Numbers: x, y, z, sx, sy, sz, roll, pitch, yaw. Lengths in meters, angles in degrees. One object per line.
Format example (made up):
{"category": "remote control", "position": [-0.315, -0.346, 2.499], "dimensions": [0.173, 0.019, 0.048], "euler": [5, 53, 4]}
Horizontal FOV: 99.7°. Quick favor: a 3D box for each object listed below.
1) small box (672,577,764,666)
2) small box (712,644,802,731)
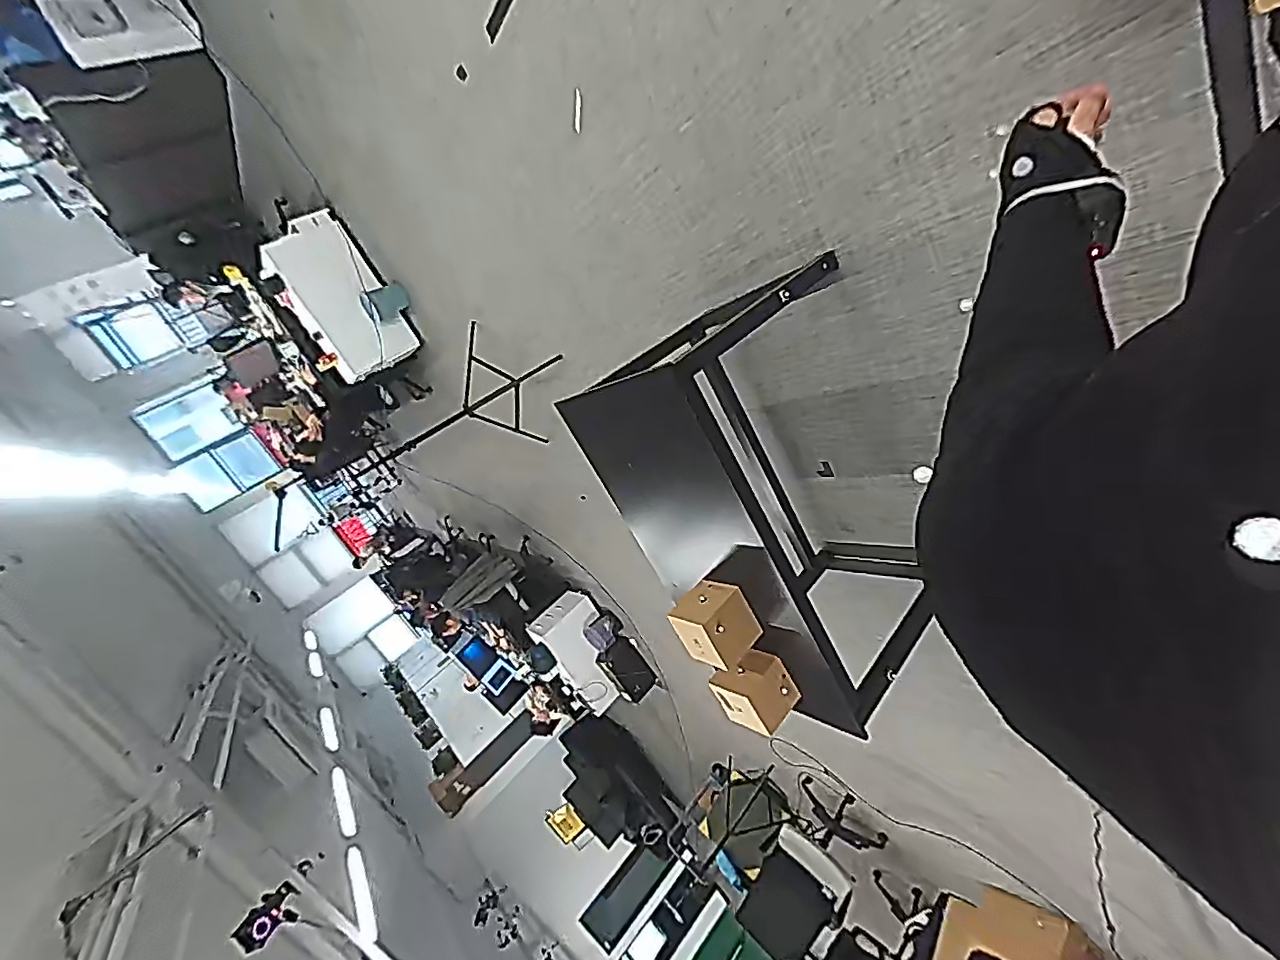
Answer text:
{"category": "small box", "position": [0.232, 0.410, 1.595], "dimensions": [0.168, 0.176, 0.179], "euler": [-3, 122, 58]}
{"category": "small box", "position": [0.363, 0.629, 1.671], "dimensions": [0.179, 0.176, 0.168], "euler": [-7, 119, 57]}
